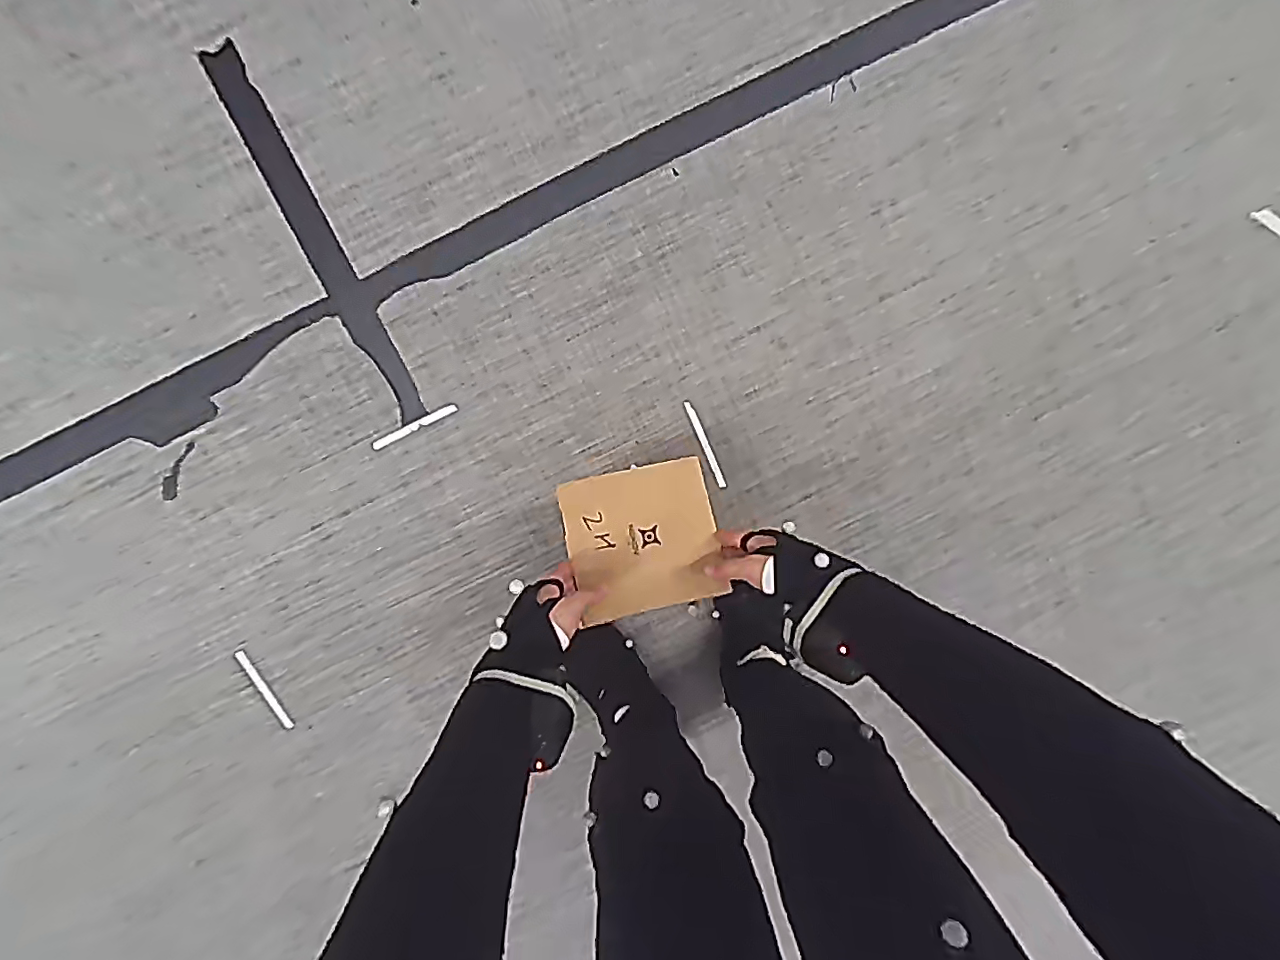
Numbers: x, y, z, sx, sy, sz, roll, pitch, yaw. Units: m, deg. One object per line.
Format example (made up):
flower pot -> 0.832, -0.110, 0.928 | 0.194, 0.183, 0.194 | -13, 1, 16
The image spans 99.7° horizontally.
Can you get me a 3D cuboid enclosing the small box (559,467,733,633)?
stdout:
small box -> 0.002, 0.096, 0.696 | 0.179, 0.176, 0.168 | -12, 74, -4
